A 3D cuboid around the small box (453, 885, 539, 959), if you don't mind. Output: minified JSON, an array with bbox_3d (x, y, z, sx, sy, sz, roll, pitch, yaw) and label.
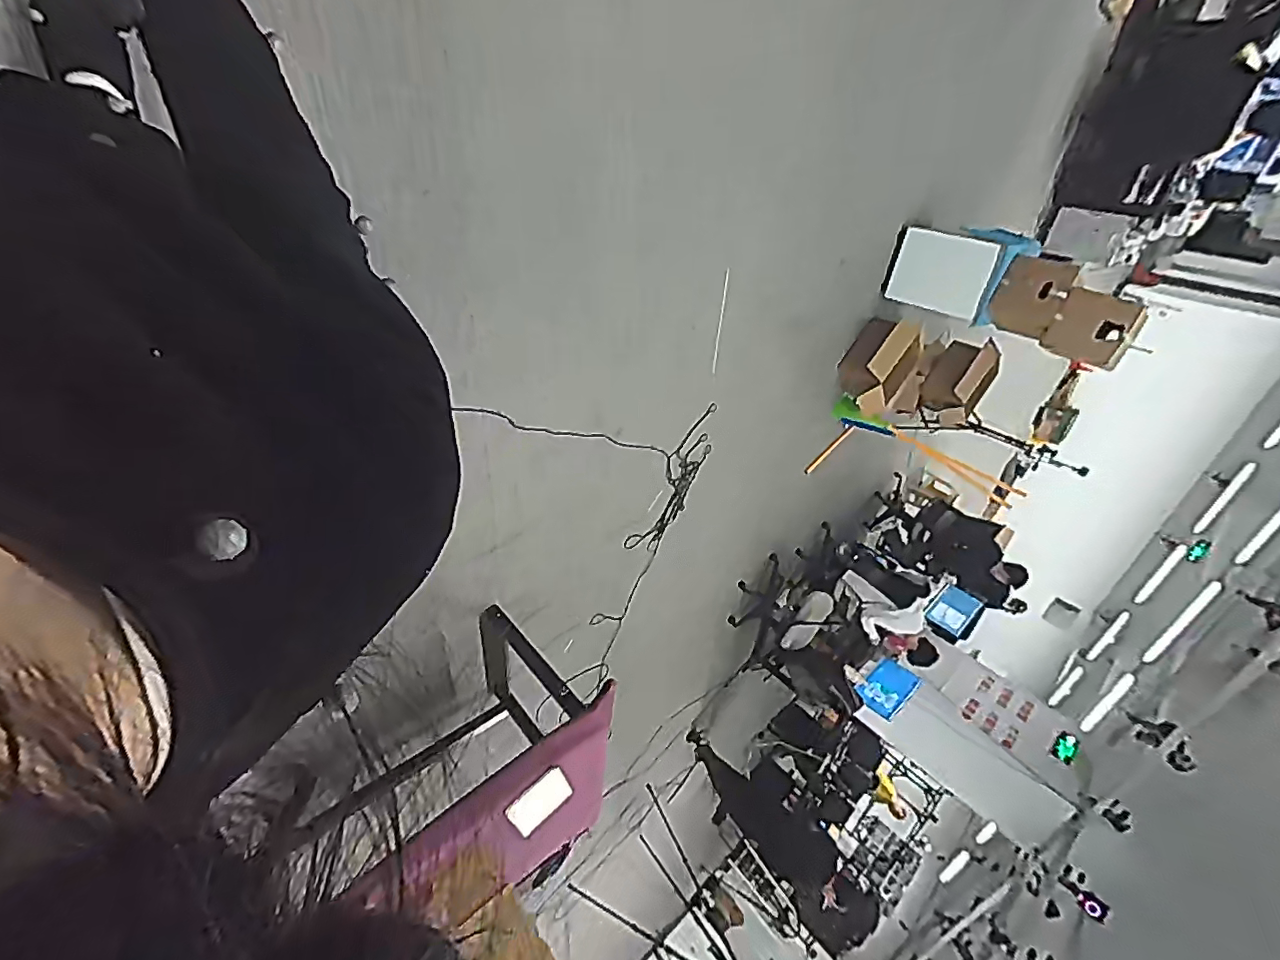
[{"bbox_3d":[-0.388,1.245,1.454,0.168,0.176,0.179,-23,135,-38],"label":"small box"}]

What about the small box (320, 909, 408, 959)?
[{"bbox_3d":[-0.697,1.261,1.387,0.168,0.176,0.179,-22,134,-37],"label":"small box"}]
